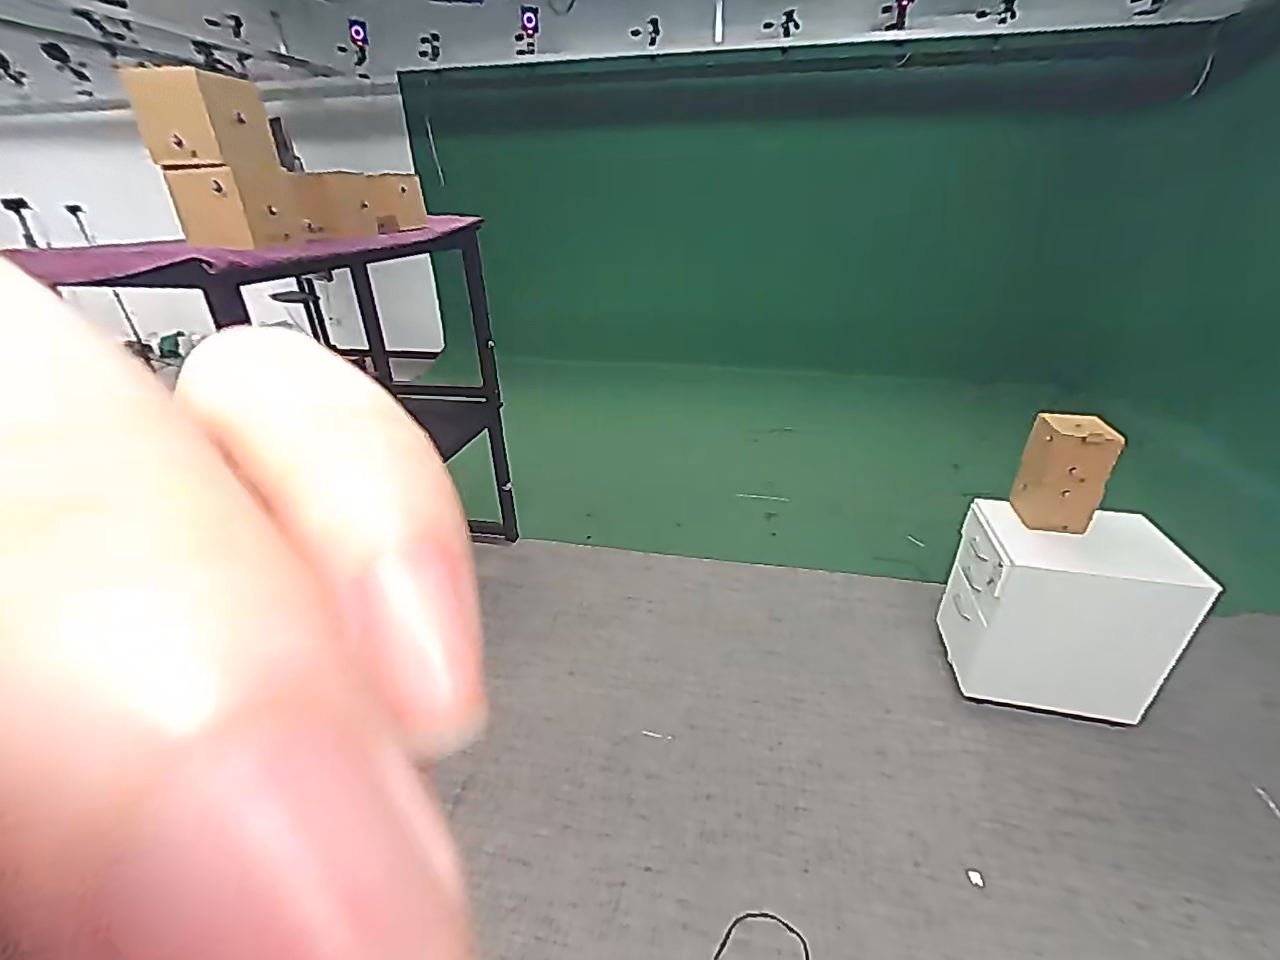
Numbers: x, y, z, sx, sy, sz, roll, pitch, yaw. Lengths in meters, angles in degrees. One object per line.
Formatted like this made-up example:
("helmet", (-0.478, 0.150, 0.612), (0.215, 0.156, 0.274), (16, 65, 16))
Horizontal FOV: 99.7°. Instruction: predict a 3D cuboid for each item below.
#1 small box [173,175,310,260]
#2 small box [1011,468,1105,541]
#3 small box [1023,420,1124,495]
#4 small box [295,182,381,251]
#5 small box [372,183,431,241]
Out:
("small box", (-0.917, -0.613, 1.265), (0.179, 0.176, 0.168), (4, 26, 8))
("small box", (1.337, 0.076, 1.748), (0.168, 0.176, 0.179), (5, 28, 12))
("small box", (1.330, -0.071, 1.677), (0.168, 0.176, 0.179), (6, 30, 12))
("small box", (-0.882, -0.765, 1.570), (0.168, 0.176, 0.179), (3, 28, 9))
("small box", (-0.845, -0.915, 1.853), (0.168, 0.176, 0.179), (3, 28, 13))
